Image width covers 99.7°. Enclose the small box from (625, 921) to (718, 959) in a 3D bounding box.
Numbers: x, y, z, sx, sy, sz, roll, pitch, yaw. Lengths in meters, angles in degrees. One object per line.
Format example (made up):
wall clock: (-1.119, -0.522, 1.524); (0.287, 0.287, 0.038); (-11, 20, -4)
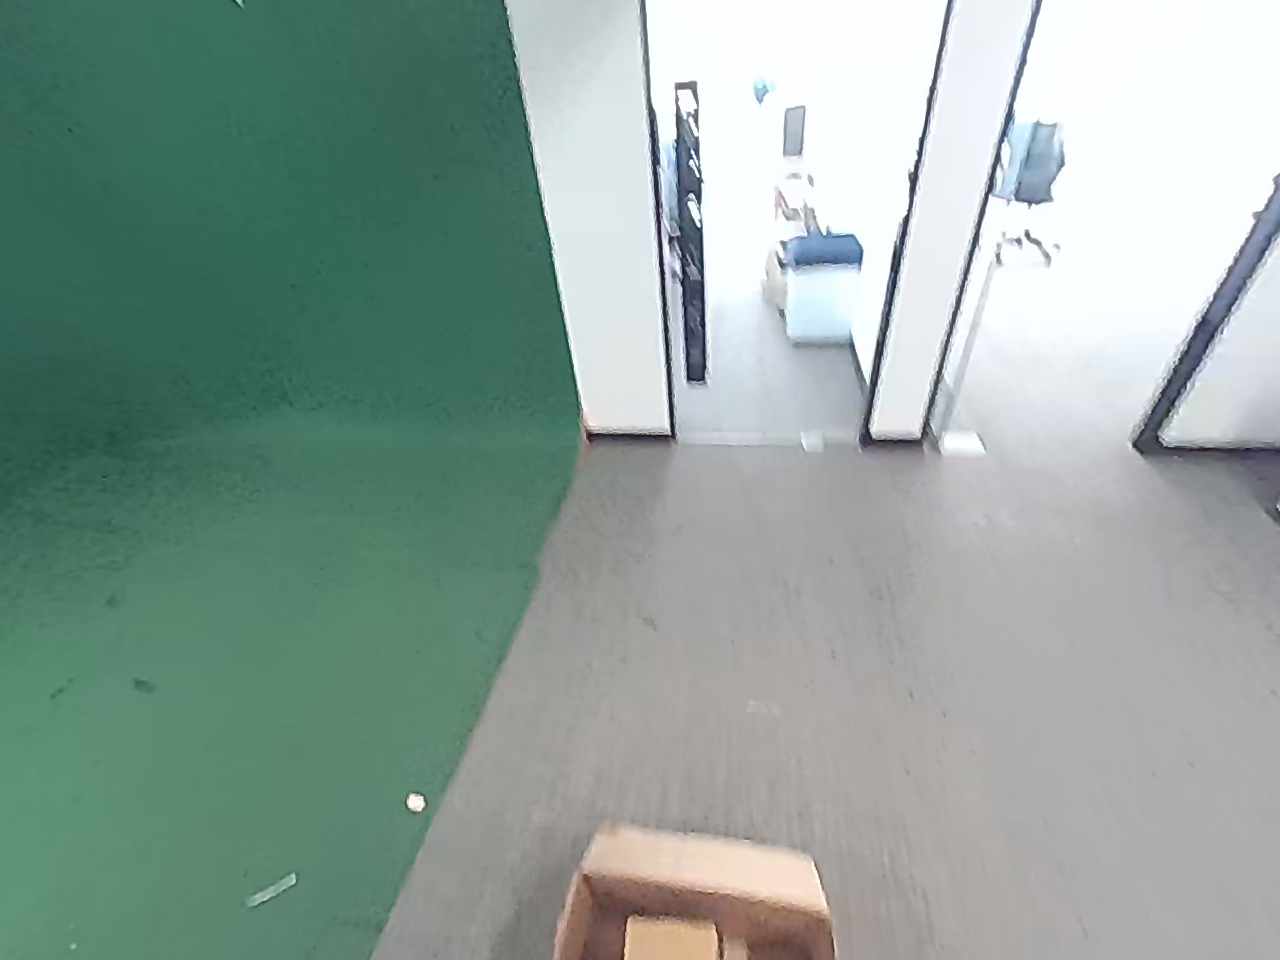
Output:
small box: (0.053, 0.928, 0.965); (0.168, 0.176, 0.179); (1, 39, 5)
